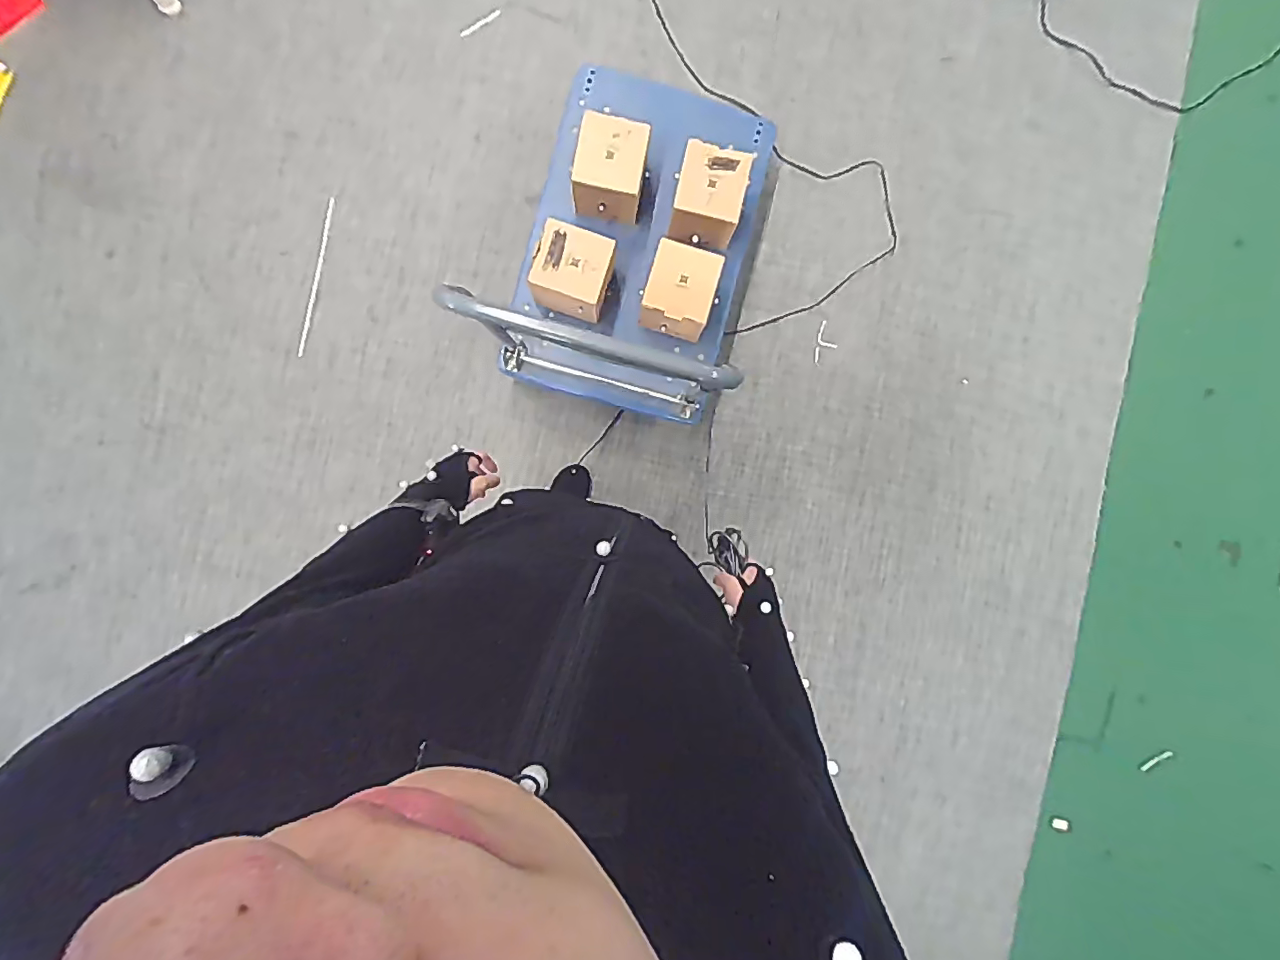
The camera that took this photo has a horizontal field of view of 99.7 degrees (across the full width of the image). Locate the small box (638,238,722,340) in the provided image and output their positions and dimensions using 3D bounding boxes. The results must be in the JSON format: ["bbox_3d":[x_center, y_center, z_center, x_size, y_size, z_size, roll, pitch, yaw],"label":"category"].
[{"bbox_3d":[0.095,-0.480,1.387,0.168,0.176,0.179,16,90,-3],"label":"small box"}]

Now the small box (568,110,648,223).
[{"bbox_3d":[-0.080,-0.784,1.372,0.168,0.176,0.179,11,90,-4],"label":"small box"}]

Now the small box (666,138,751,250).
[{"bbox_3d":[0.168,-0.724,1.387,0.168,0.176,0.179,13,91,-3],"label":"small box"}]
